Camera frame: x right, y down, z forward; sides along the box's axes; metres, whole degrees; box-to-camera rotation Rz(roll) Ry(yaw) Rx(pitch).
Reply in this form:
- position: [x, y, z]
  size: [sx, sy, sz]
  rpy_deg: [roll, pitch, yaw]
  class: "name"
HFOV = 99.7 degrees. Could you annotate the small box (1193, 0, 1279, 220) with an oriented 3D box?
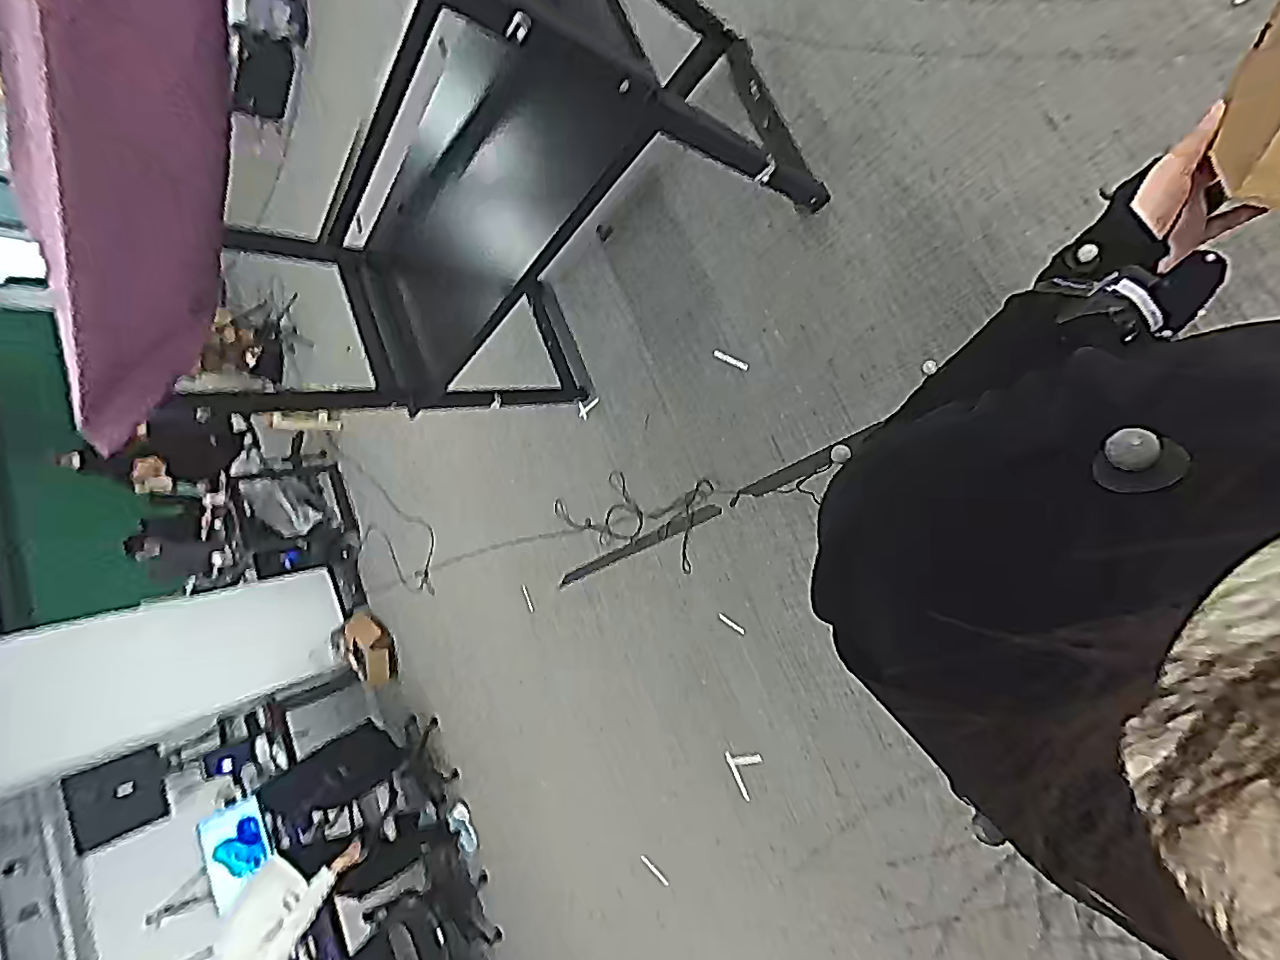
- position: [0.440, -0.232, 0.267]
  size: [0.179, 0.176, 0.168]
  rpy_deg: [20, 138, 23]
  class: "small box"
